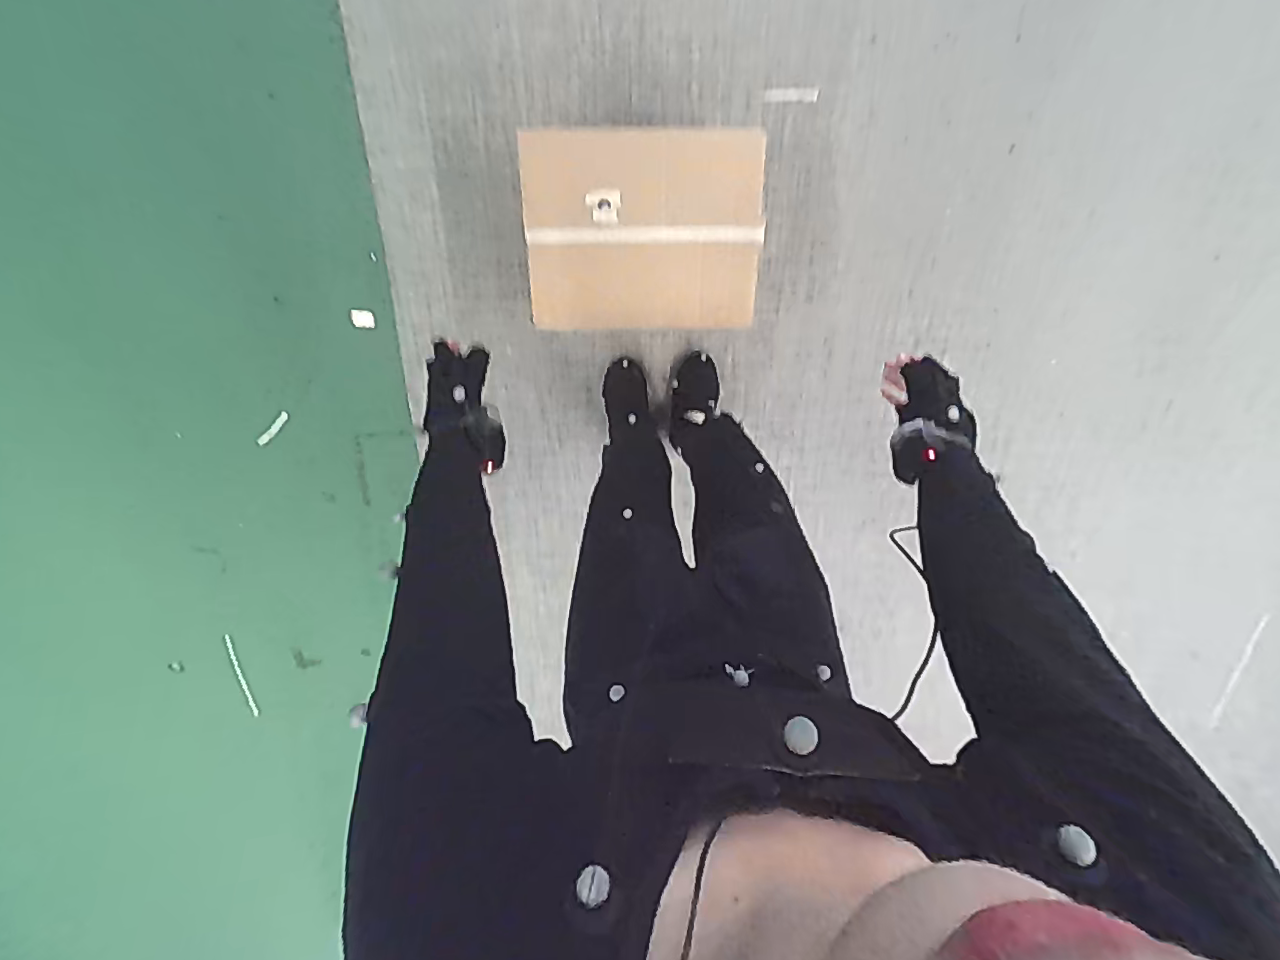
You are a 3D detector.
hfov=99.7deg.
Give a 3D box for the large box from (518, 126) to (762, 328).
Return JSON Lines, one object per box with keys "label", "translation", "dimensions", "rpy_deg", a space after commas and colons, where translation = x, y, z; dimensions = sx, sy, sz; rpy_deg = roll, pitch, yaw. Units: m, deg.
{"label": "large box", "translation": [0.001, -0.482, 1.065], "dimensions": [0.408, 0.320, 0.320], "rpy_deg": [-1, 112, -1]}
